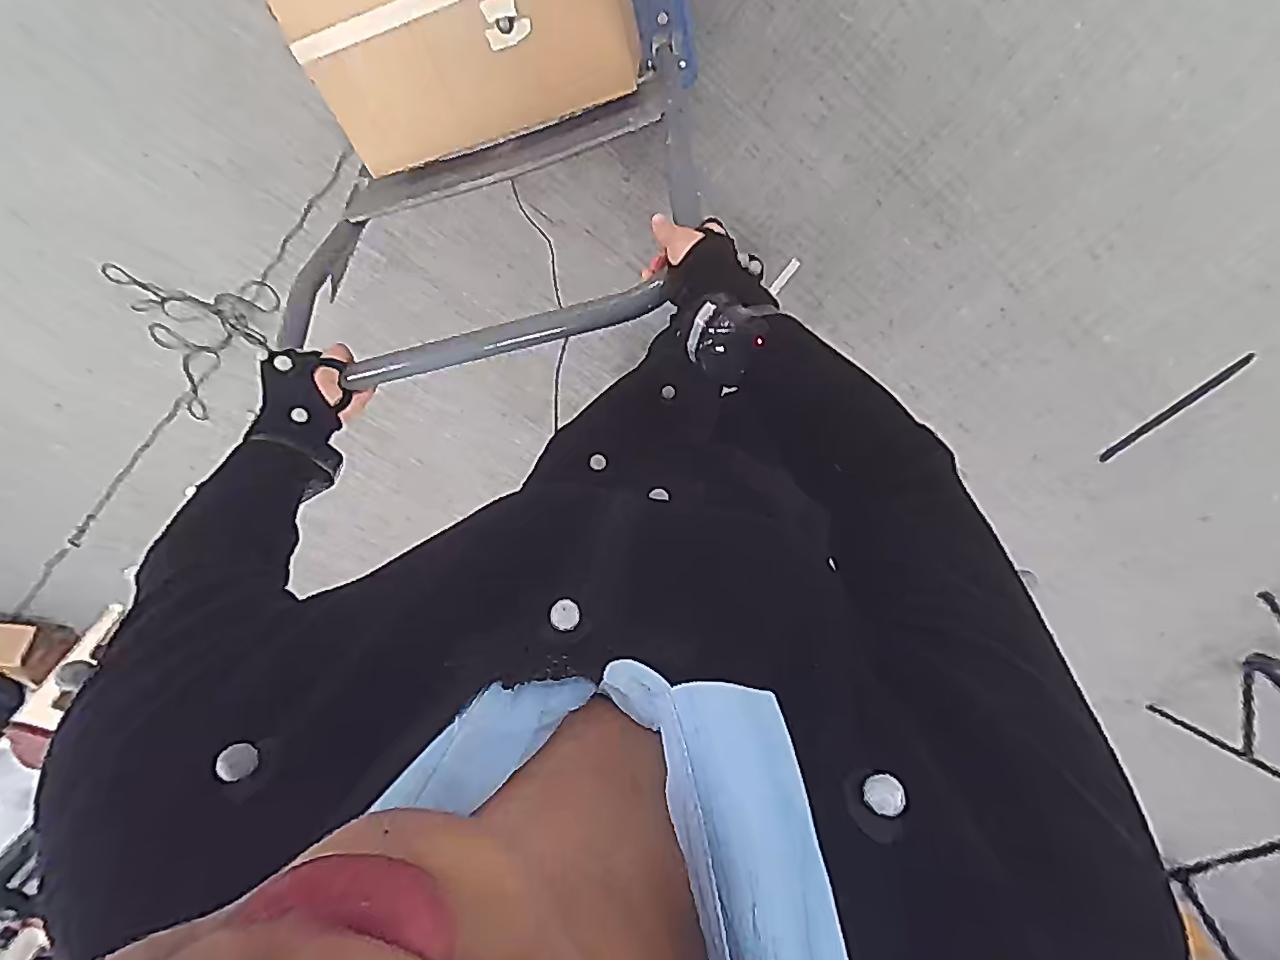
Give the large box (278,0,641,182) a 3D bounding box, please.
[{"bbox_3d":[-0.231,-0.683,0.754,0.408,0.320,0.320,-11,135,12],"label":"large box"}]
